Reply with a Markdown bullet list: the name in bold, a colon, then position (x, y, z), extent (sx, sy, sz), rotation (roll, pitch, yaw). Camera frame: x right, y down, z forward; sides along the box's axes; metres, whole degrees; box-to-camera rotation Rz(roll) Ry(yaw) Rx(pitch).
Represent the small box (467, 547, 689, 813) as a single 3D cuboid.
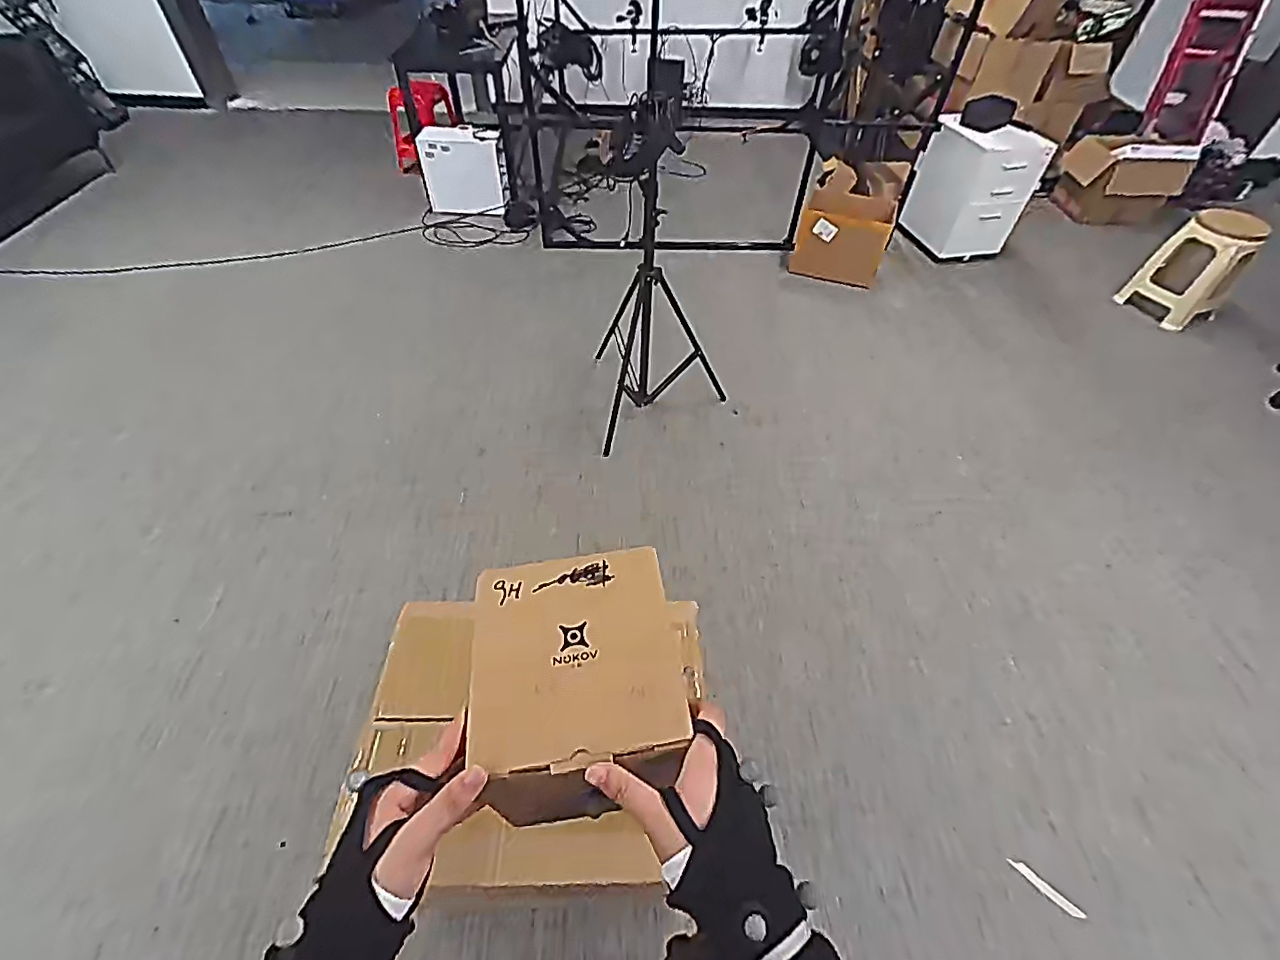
- **small box**: position (-0.051, 0.190, 0.500), extent (0.168, 0.176, 0.179), rotation (-8, 49, -4)
